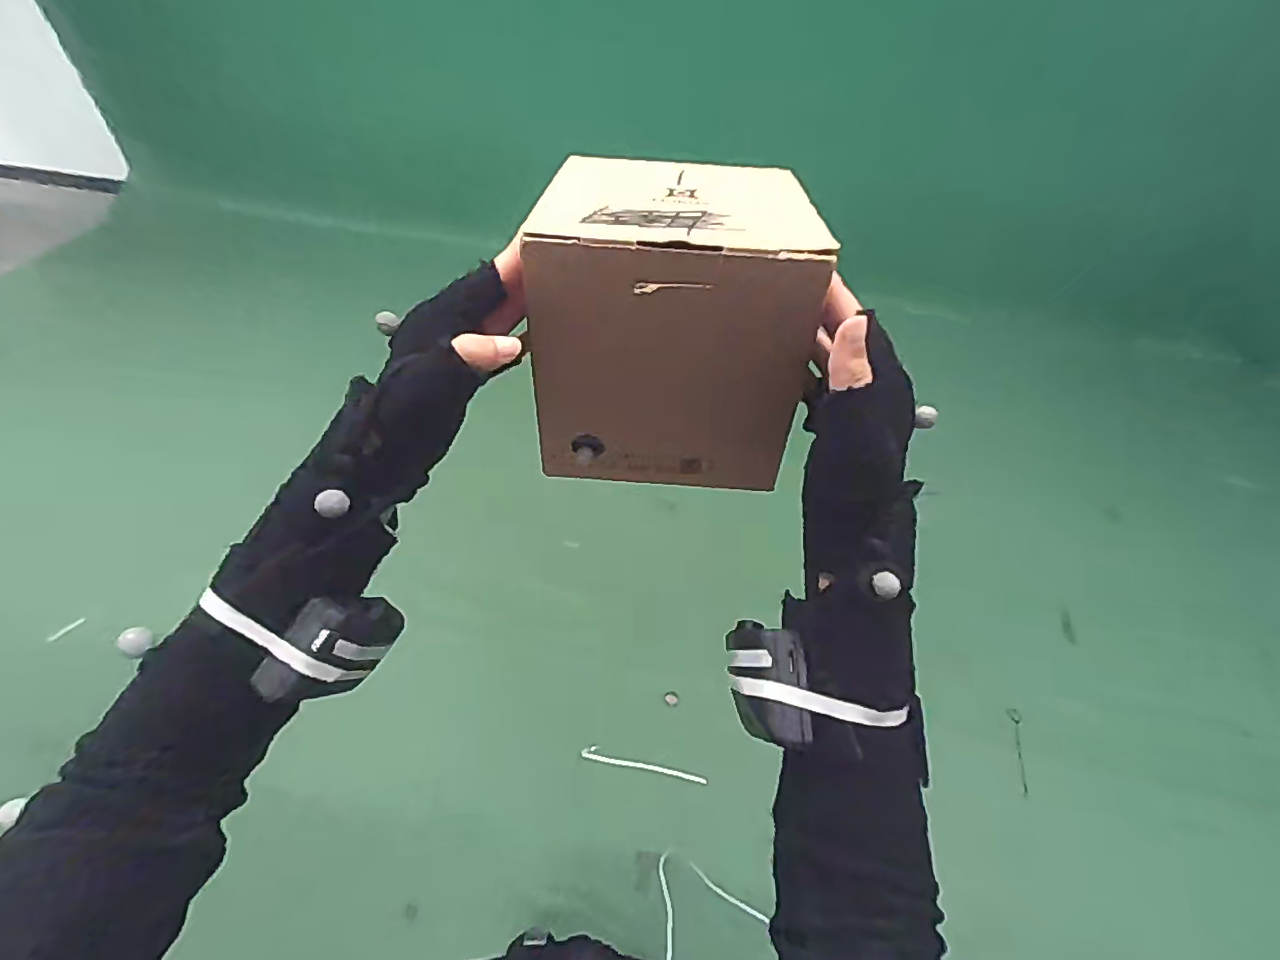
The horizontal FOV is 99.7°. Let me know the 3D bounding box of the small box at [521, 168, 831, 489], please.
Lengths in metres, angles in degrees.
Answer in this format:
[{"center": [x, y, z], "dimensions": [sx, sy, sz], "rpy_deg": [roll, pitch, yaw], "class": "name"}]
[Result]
[{"center": [0.022, -0.110, 0.393], "dimensions": [0.168, 0.176, 0.179], "rpy_deg": [4, 42, 1], "class": "small box"}]
